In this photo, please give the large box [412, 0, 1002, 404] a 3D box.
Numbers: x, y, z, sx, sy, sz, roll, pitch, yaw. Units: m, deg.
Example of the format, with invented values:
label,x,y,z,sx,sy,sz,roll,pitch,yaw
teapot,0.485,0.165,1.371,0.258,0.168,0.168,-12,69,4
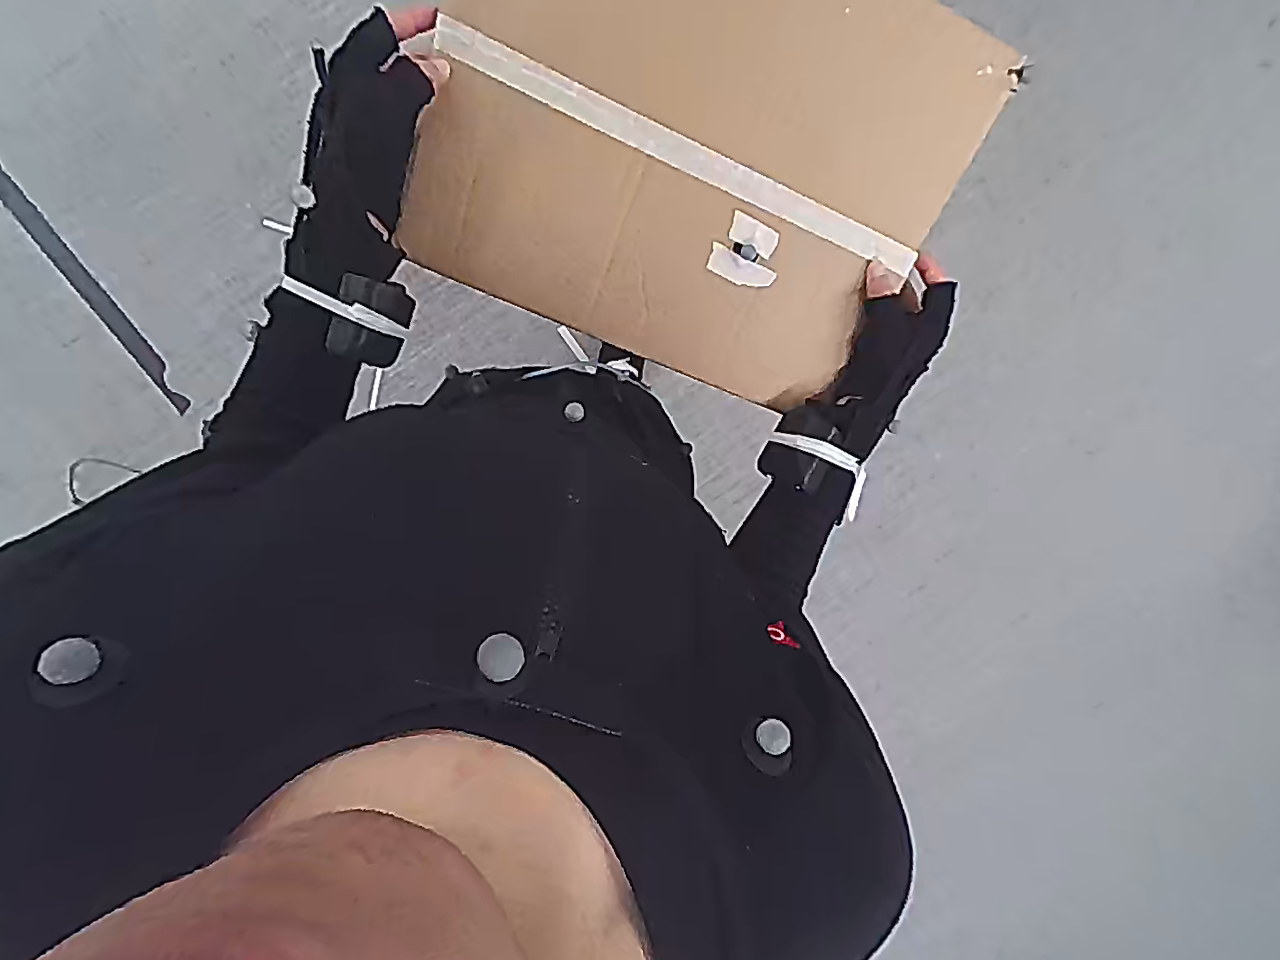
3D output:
label,x,y,z,sx,sy,sz,roll,pitch,yaw
large box,0.035,-0.325,0.570,0.408,0.320,0.320,19,113,-12
